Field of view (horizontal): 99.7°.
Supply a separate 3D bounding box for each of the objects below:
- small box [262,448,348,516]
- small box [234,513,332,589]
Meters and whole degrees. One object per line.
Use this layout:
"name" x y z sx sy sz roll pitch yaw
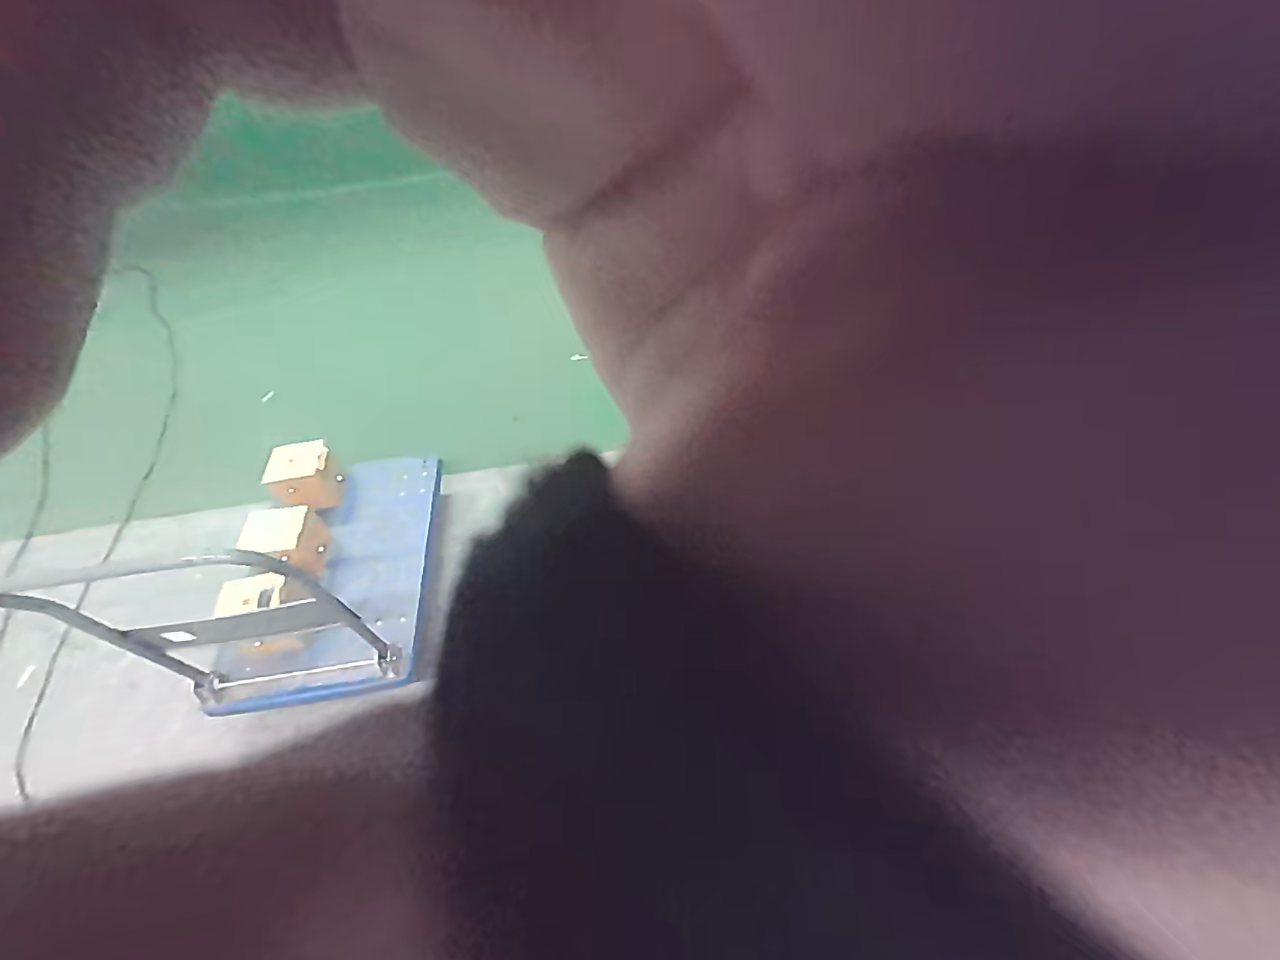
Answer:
"small box" -1.151 0.015 1.870 0.179 0.176 0.168 -8 50 -4
"small box" -1.106 0.226 1.690 0.179 0.176 0.168 -7 49 -4
